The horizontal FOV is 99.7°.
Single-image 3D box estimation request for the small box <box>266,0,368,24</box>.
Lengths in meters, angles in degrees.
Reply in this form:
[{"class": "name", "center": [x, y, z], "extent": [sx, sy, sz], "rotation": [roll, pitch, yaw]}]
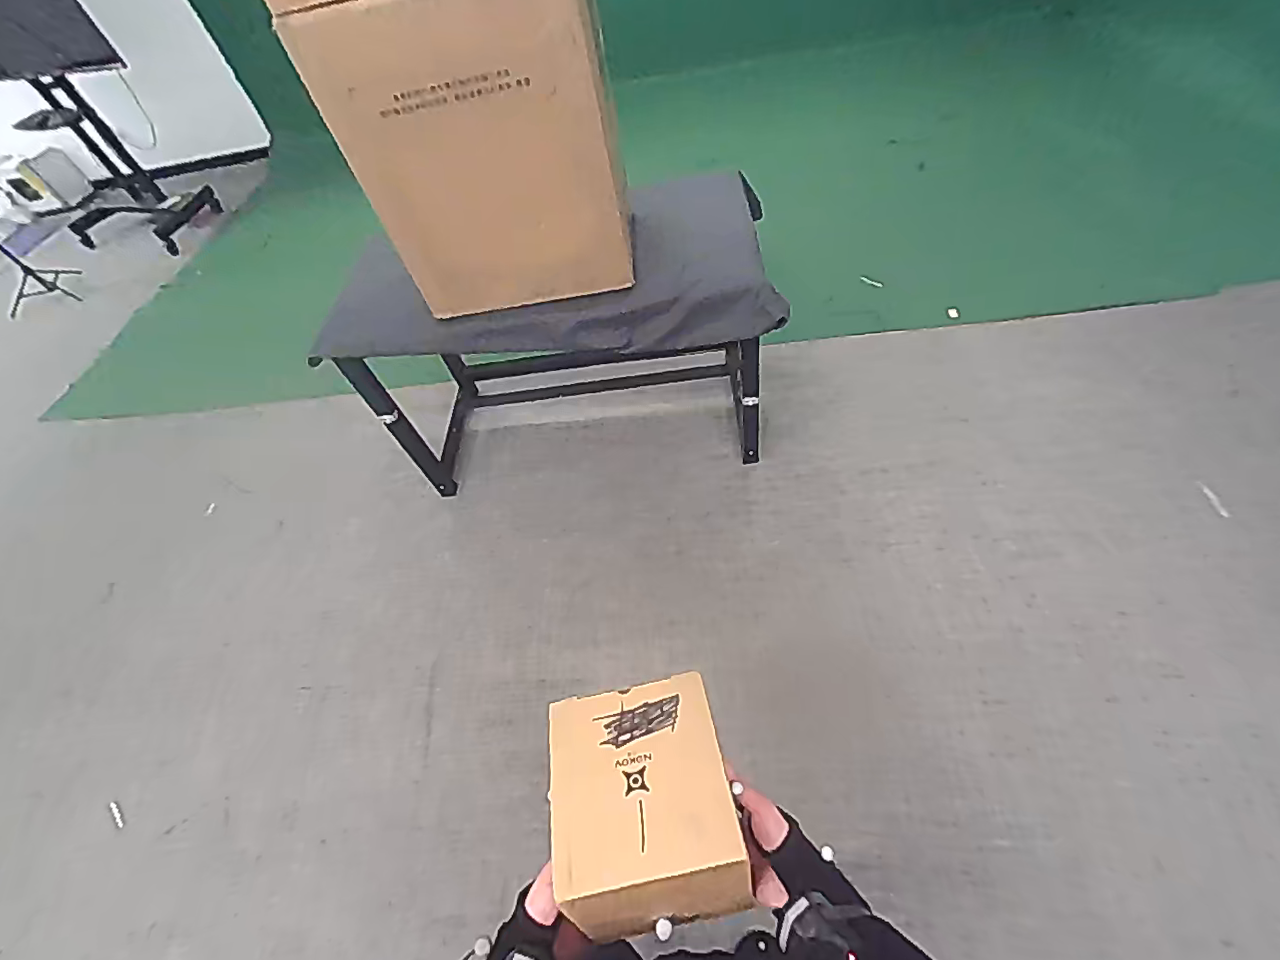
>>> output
[{"class": "small box", "center": [-0.574, -0.921, 0.932], "extent": [0.168, 0.176, 0.179], "rotation": [-6, 53, 7]}]
